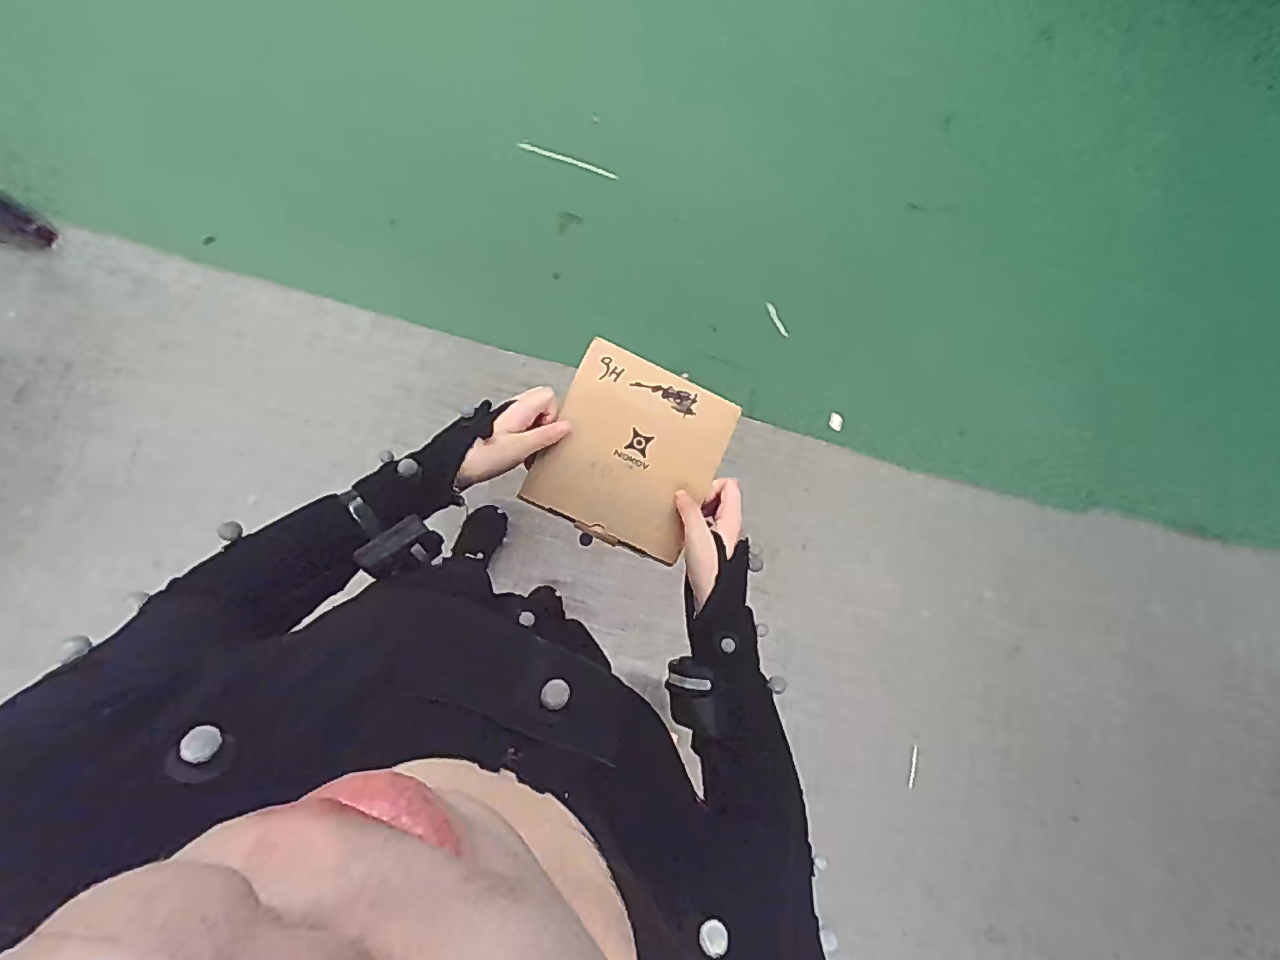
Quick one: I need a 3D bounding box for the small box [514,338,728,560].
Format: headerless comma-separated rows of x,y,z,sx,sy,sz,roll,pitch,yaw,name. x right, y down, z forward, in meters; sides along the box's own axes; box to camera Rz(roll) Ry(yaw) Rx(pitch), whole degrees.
-0.025,-0.027,0.615,0.168,0.176,0.179,24,85,-6,small box
